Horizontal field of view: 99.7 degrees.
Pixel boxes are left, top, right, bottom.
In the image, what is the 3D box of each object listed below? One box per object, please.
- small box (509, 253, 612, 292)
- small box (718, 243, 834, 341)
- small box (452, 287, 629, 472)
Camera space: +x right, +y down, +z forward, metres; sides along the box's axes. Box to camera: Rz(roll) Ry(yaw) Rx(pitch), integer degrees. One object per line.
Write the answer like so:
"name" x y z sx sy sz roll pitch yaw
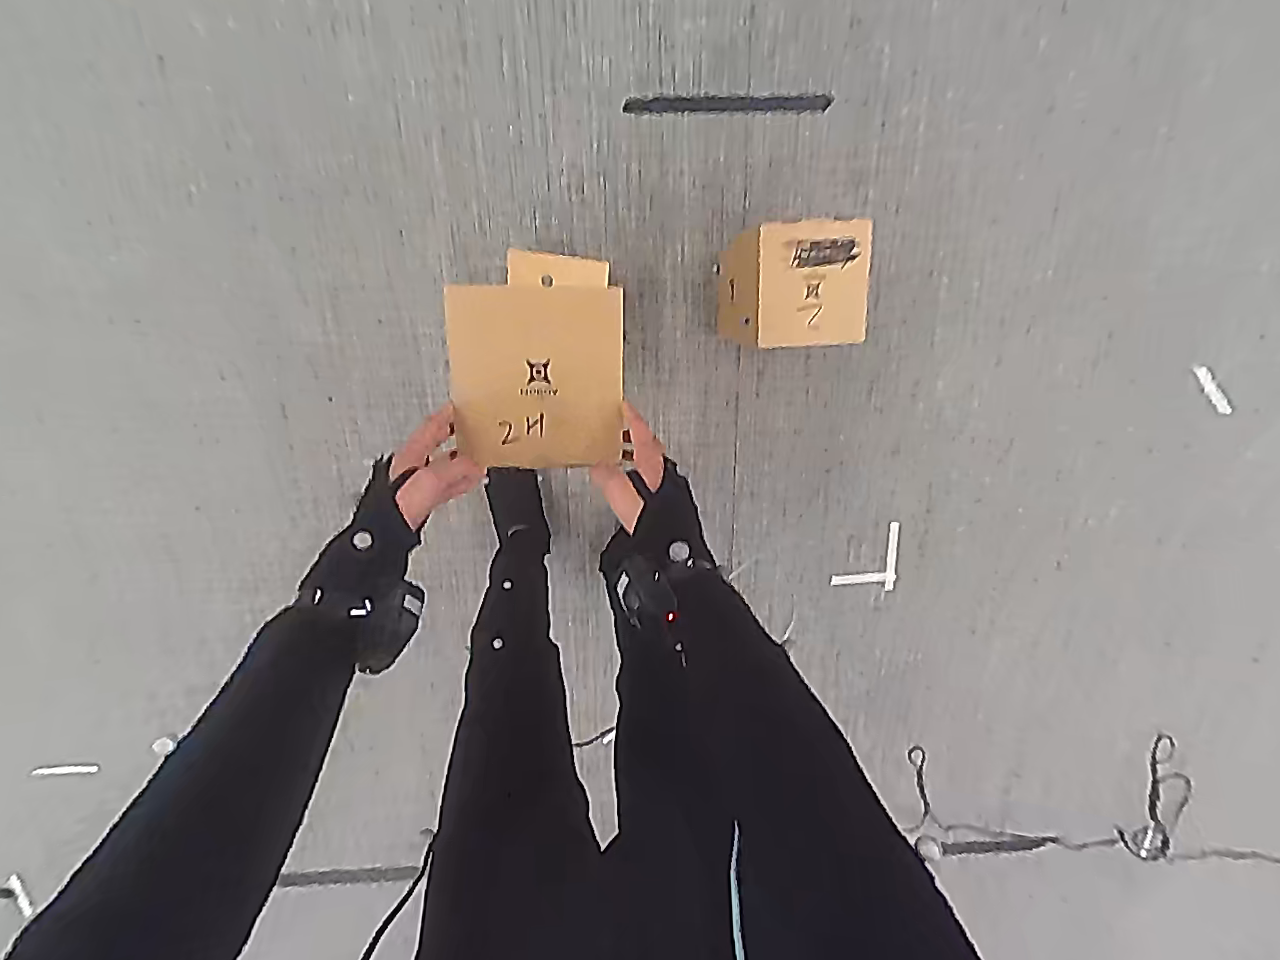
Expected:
"small box" -0.147 -0.322 1.020 0.179 0.176 0.168 6 106 -4
"small box" 0.248 -0.352 1.031 0.179 0.176 0.168 -3 107 -3
"small box" -0.102 -0.114 0.598 0.168 0.176 0.179 0 107 -5
